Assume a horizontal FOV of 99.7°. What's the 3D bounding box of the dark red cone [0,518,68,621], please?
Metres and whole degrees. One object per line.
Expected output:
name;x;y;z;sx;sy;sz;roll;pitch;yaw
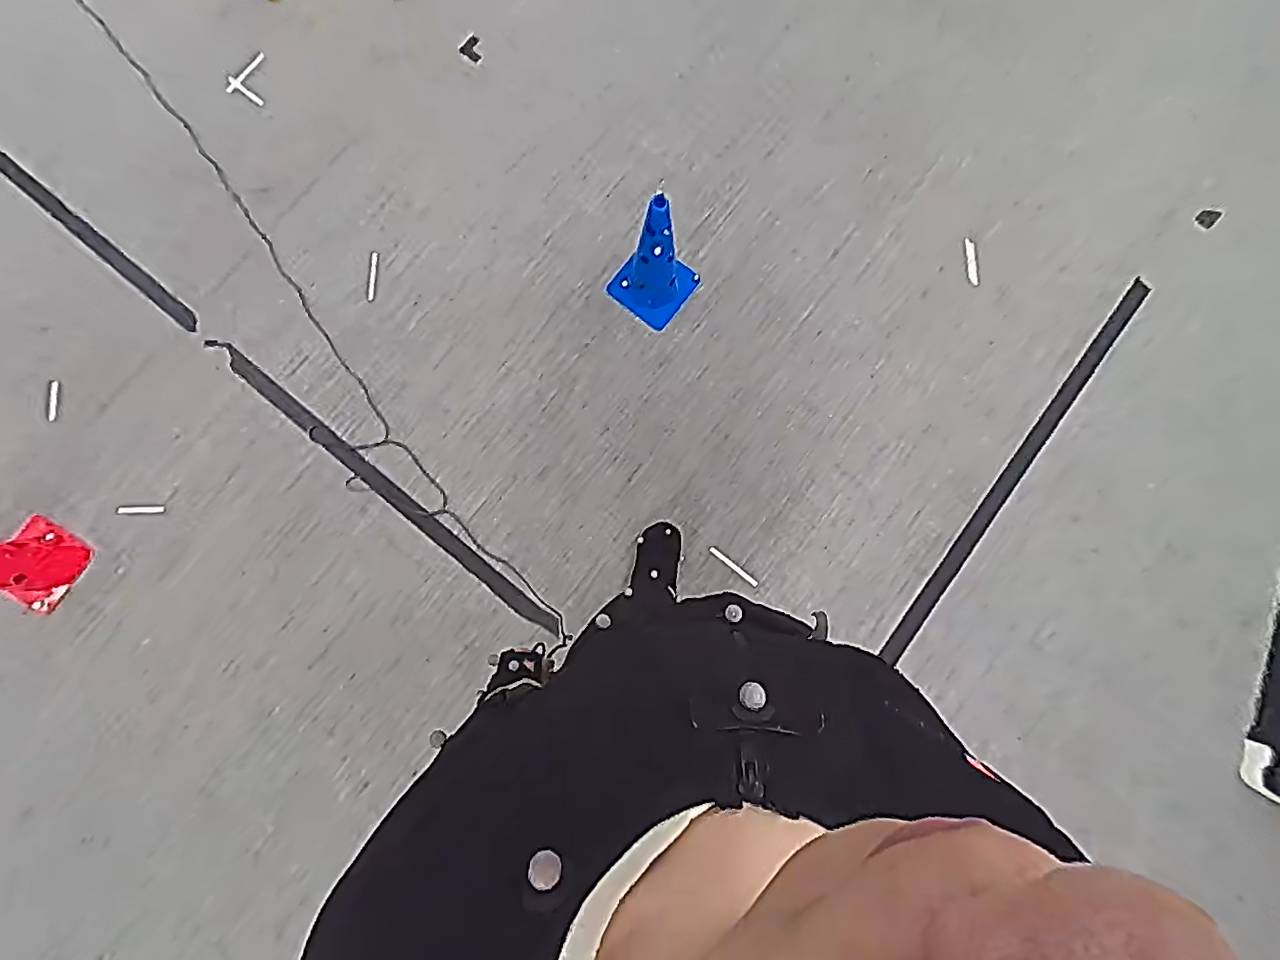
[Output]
dark red cone;-1.543;0.195;1.179;0.202;0.394;0.201;30;82;4

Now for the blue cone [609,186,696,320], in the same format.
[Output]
blue cone;0.035;-0.571;1.322;0.193;0.380;0.192;39;83;5
